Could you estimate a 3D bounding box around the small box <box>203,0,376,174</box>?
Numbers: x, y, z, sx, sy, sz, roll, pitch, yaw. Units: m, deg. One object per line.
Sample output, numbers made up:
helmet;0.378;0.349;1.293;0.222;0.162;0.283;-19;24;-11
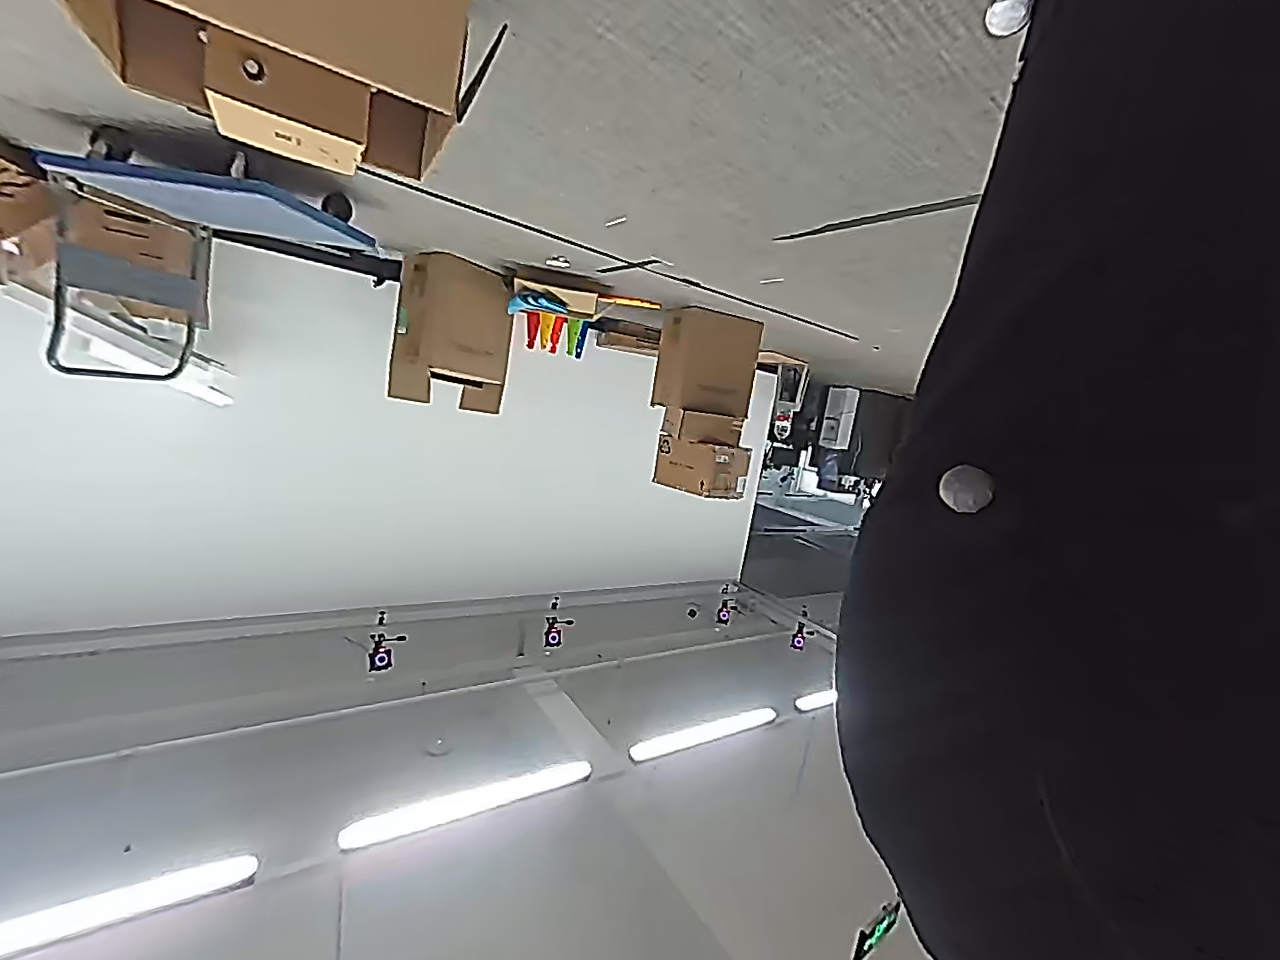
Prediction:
small box;-0.478;-0.561;0.745;0.179;0.176;0.168;3;-169;-34
